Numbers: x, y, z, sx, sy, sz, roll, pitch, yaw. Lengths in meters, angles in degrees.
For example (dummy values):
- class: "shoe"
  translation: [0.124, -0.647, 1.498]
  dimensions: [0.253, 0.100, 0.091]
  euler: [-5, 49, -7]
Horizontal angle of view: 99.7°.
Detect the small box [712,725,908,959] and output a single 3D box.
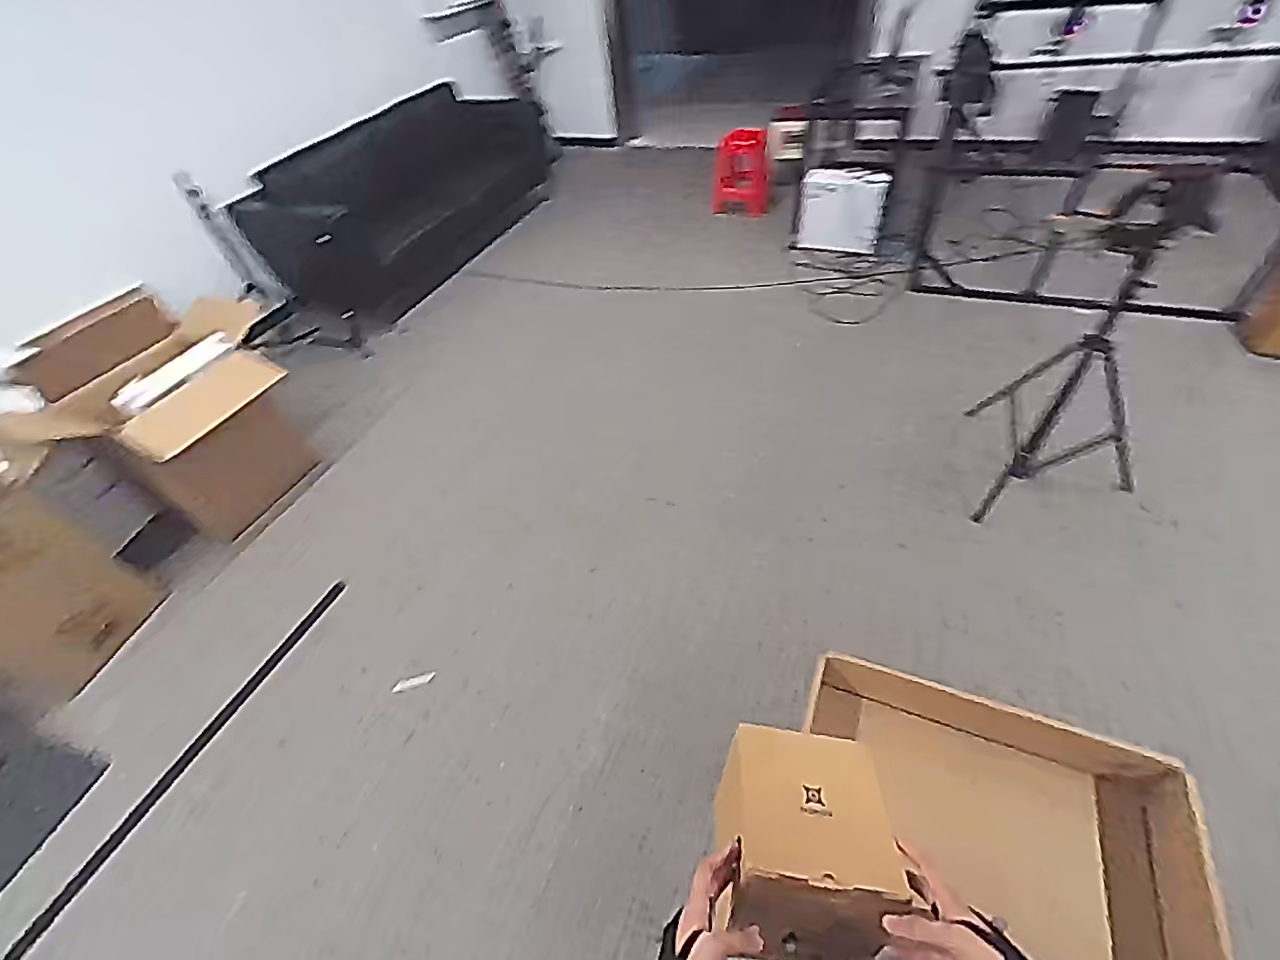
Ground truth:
- class: "small box"
  translation: [0.180, 0.430, 0.639]
  dimensions: [0.168, 0.176, 0.179]
  euler: [8, 28, 2]
